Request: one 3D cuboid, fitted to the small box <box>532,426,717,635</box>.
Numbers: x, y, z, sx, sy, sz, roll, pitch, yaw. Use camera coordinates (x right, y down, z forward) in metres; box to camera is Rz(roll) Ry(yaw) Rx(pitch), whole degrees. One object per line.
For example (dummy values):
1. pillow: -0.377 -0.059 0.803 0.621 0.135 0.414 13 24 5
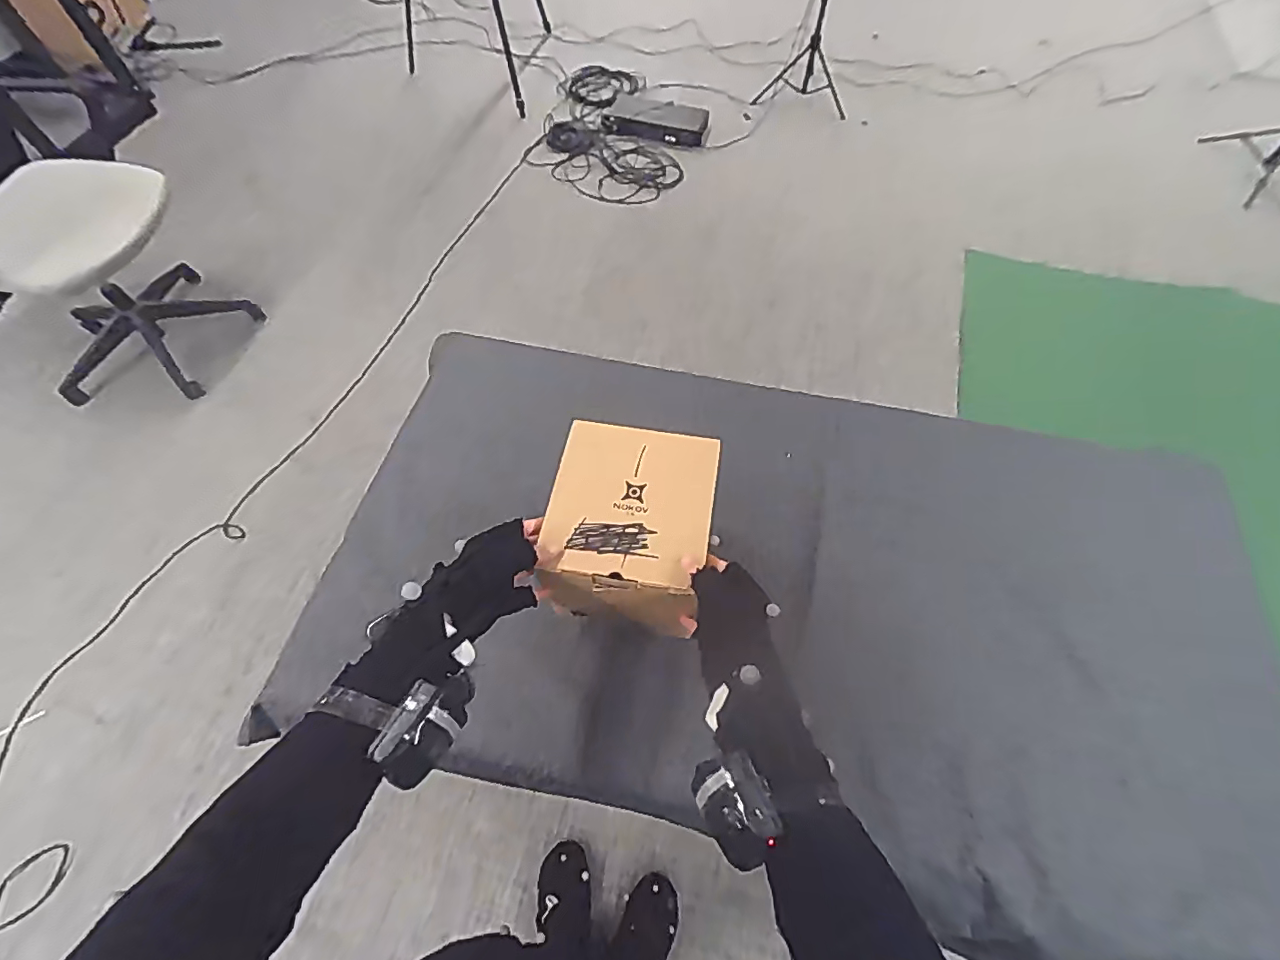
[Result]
1. small box: -0.009 0.065 0.622 0.168 0.176 0.179 8 60 5
